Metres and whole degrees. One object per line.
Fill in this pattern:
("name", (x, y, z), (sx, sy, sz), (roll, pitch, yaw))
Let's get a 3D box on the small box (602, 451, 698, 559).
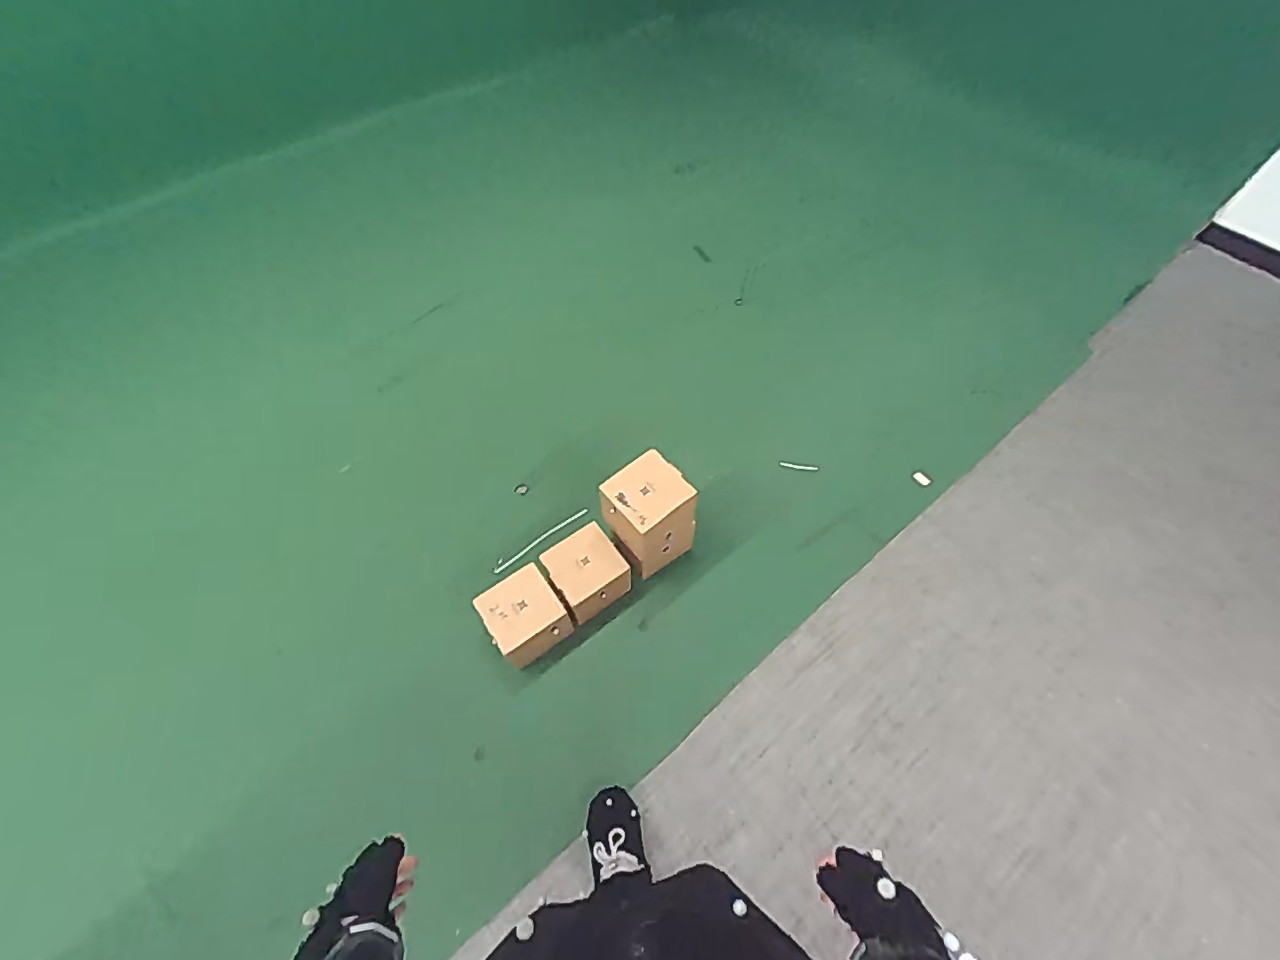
("small box", (0.020, 0.065, 1.353), (0.179, 0.176, 0.168), (-35, 65, -19))
